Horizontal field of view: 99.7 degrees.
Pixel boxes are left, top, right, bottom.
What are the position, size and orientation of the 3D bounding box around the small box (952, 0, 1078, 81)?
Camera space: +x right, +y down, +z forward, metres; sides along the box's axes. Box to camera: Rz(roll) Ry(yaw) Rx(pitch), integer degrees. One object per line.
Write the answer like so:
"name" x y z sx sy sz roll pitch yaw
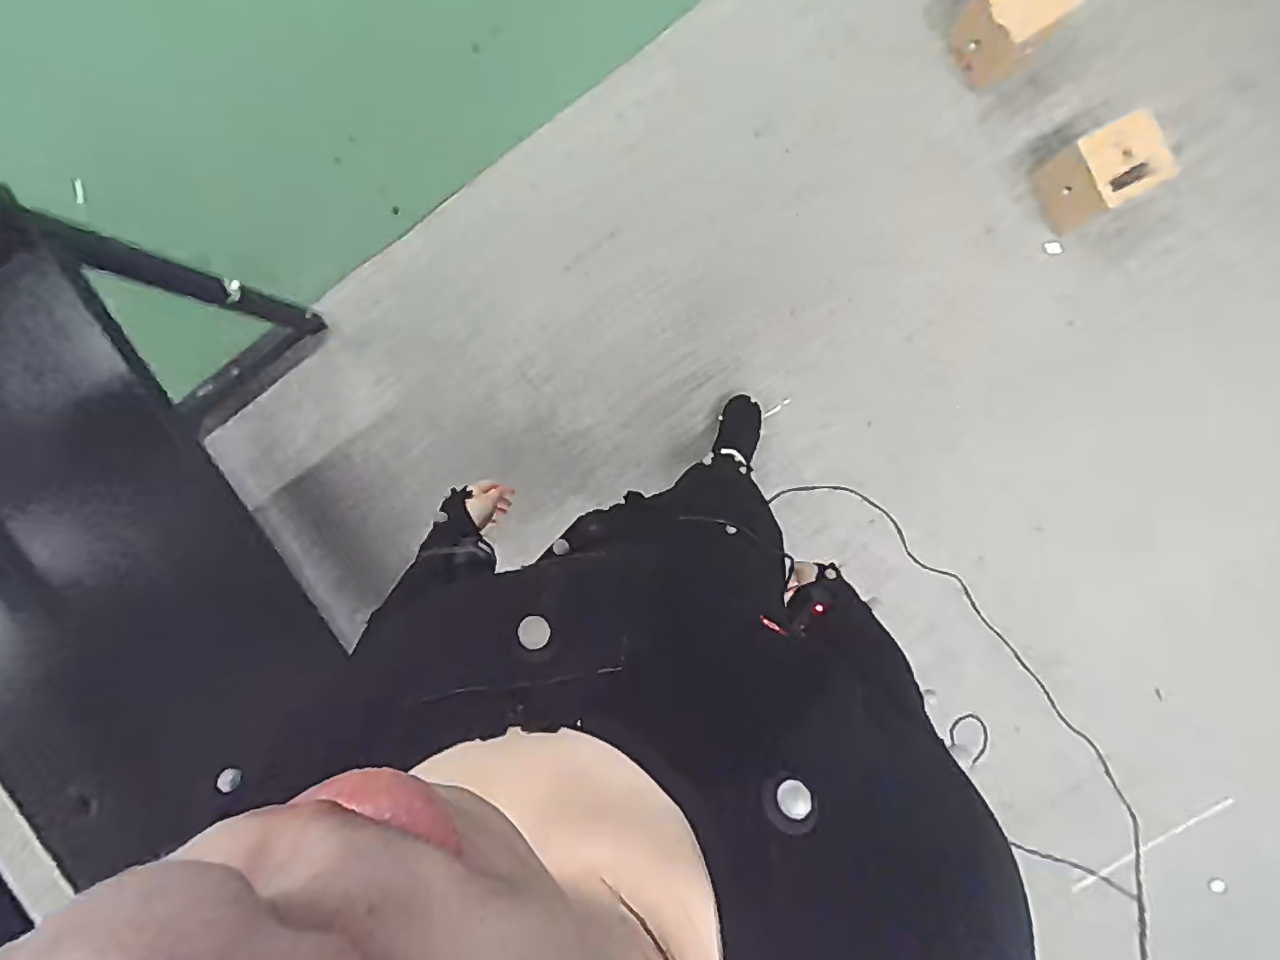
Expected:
"small box" 0.877 -1.106 1.280 0.179 0.176 0.168 -30 91 7
